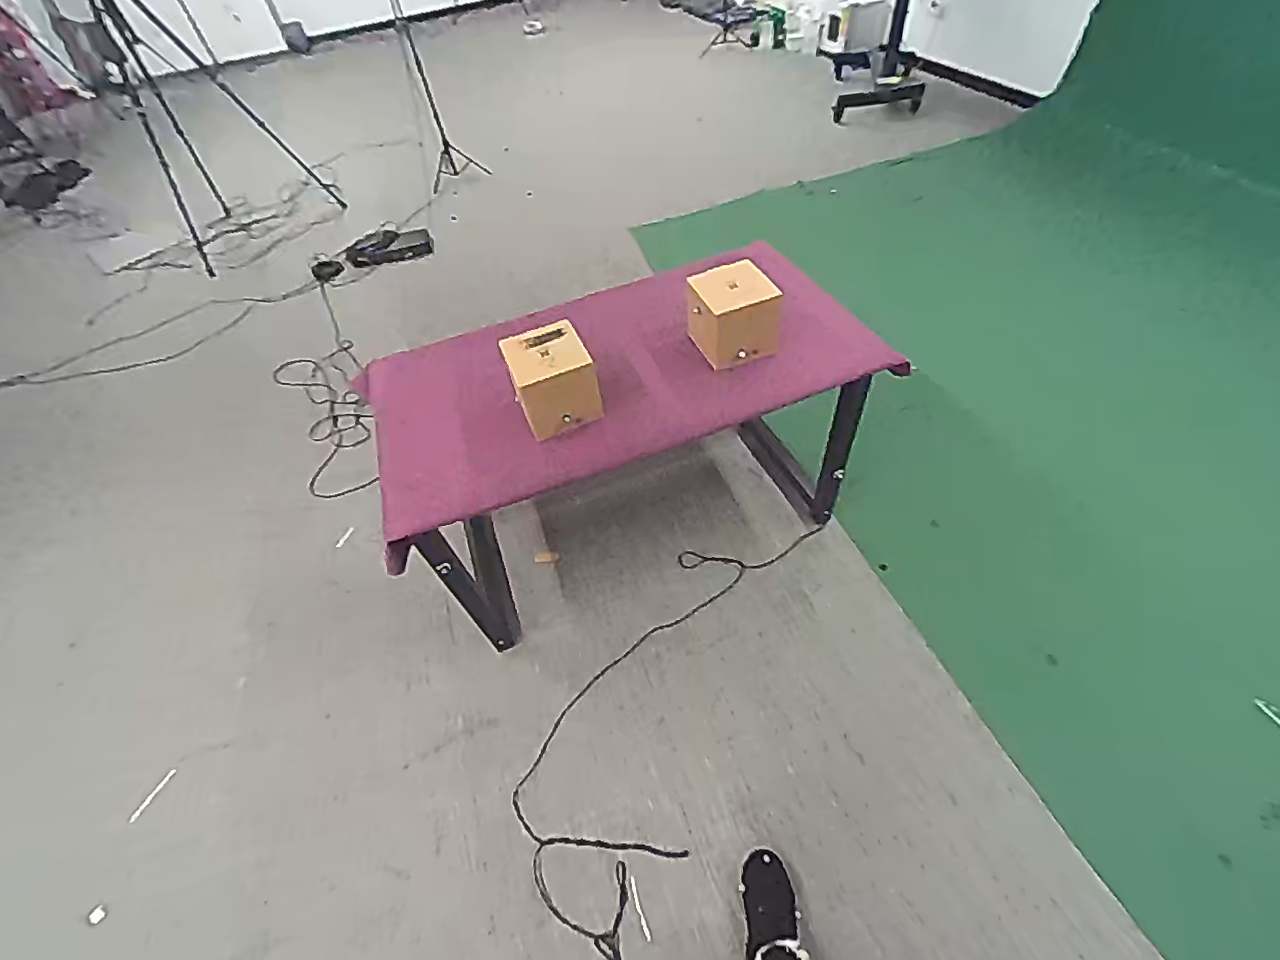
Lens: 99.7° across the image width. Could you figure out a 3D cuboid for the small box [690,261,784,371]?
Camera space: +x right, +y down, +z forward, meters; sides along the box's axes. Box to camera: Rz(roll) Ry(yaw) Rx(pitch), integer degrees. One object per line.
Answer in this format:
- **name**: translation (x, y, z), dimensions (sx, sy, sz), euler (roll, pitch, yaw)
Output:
- **small box**: translation (0.228, -0.394, 1.302), dimensions (0.168, 0.176, 0.179), euler (-19, 50, -6)
